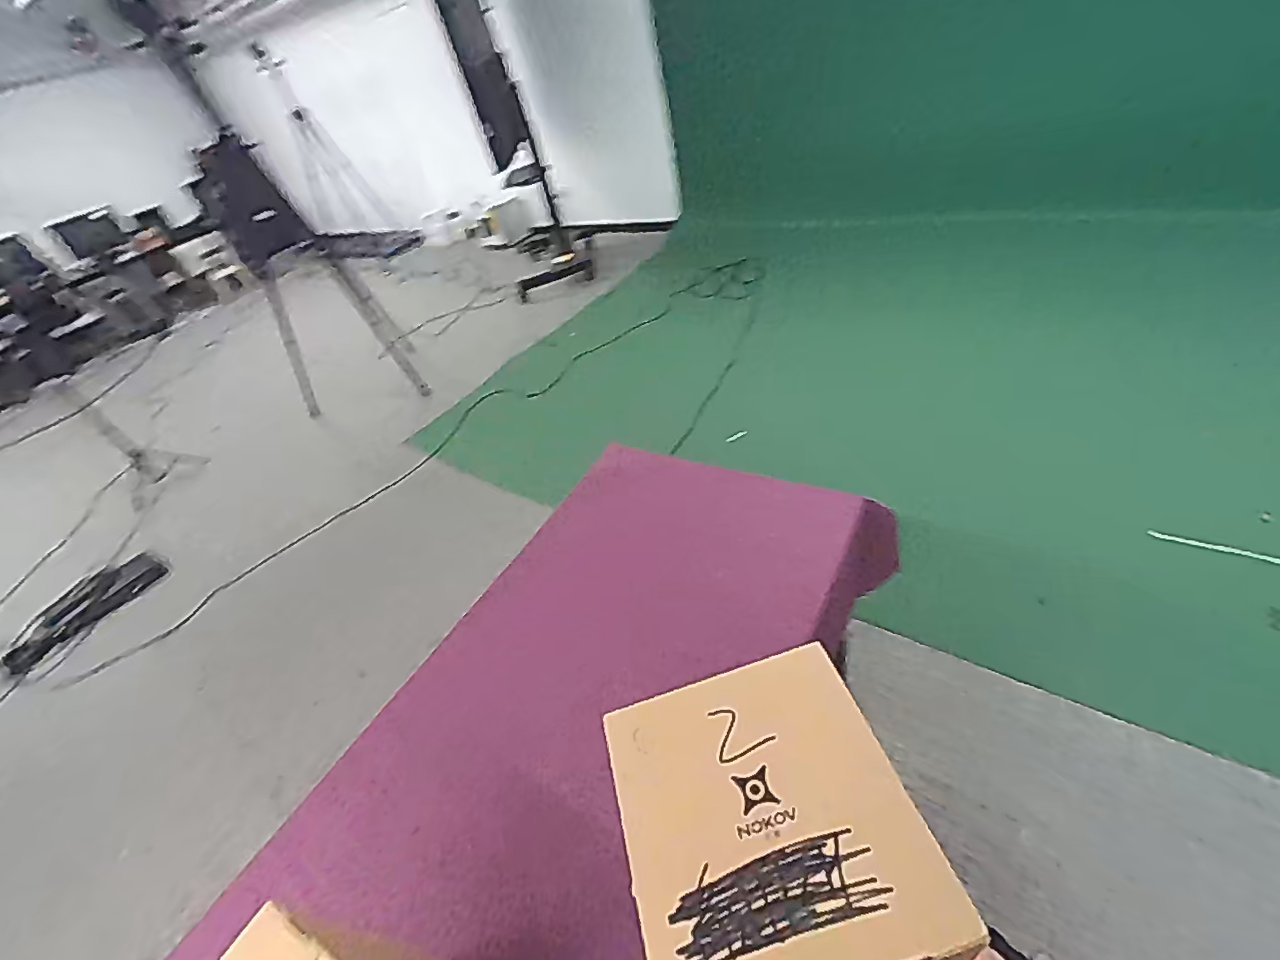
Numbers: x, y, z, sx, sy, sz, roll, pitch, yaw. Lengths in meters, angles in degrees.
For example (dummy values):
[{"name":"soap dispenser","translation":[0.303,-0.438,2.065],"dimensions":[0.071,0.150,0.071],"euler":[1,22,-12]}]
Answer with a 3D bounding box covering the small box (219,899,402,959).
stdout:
[{"name":"small box","translation":[-0.256,0.472,0.403],"dimensions":[0.168,0.176,0.179],"euler":[11,46,29]}]
